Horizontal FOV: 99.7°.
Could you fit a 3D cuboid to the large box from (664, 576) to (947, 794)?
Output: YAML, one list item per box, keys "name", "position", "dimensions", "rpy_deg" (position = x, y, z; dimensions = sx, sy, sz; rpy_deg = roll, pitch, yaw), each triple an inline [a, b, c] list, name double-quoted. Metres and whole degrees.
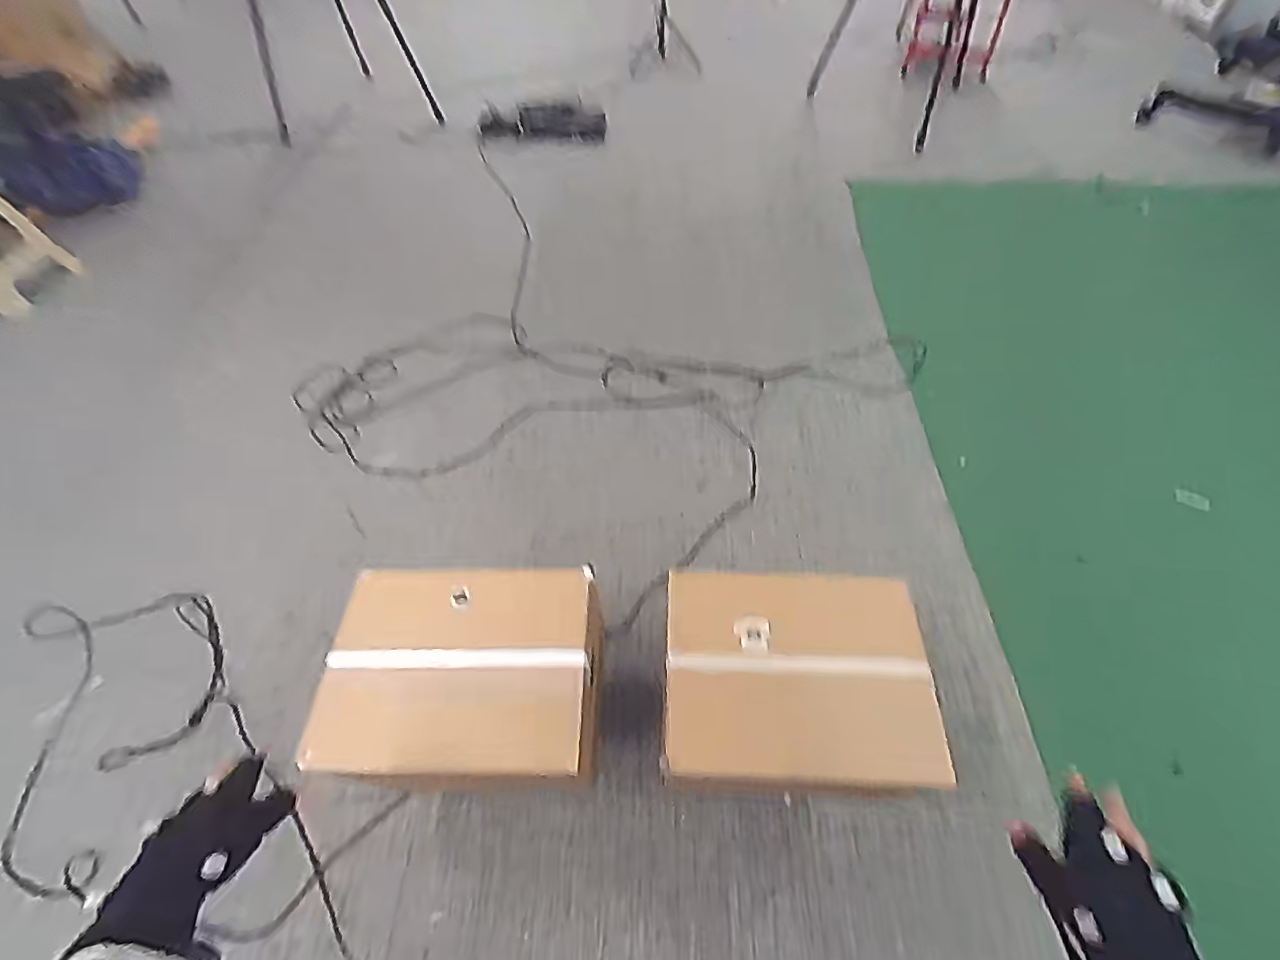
- name: "large box"
  position: [0.251, 0.380, 0.977]
  dimensions: [0.408, 0.320, 0.320]
  rpy_deg: [2, 56, 3]
